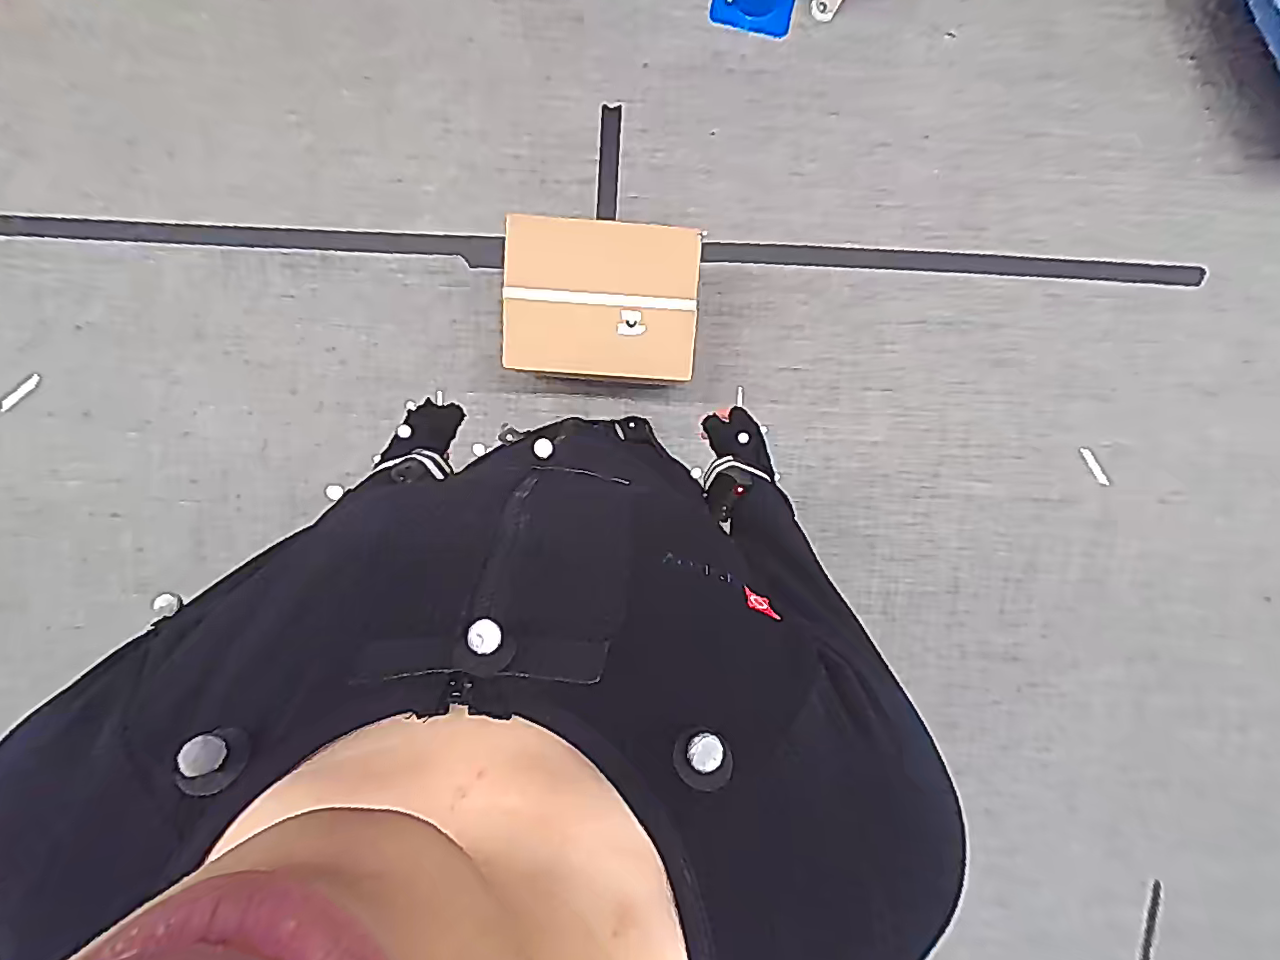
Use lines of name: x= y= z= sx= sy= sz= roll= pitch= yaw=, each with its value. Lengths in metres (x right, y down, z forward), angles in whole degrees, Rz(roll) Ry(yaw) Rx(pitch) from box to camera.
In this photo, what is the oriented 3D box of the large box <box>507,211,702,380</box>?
large box: x=-0.085 y=-0.407 z=1.276 sx=0.408 sy=0.320 sz=0.320 roll=3 pitch=99 yaw=-3
